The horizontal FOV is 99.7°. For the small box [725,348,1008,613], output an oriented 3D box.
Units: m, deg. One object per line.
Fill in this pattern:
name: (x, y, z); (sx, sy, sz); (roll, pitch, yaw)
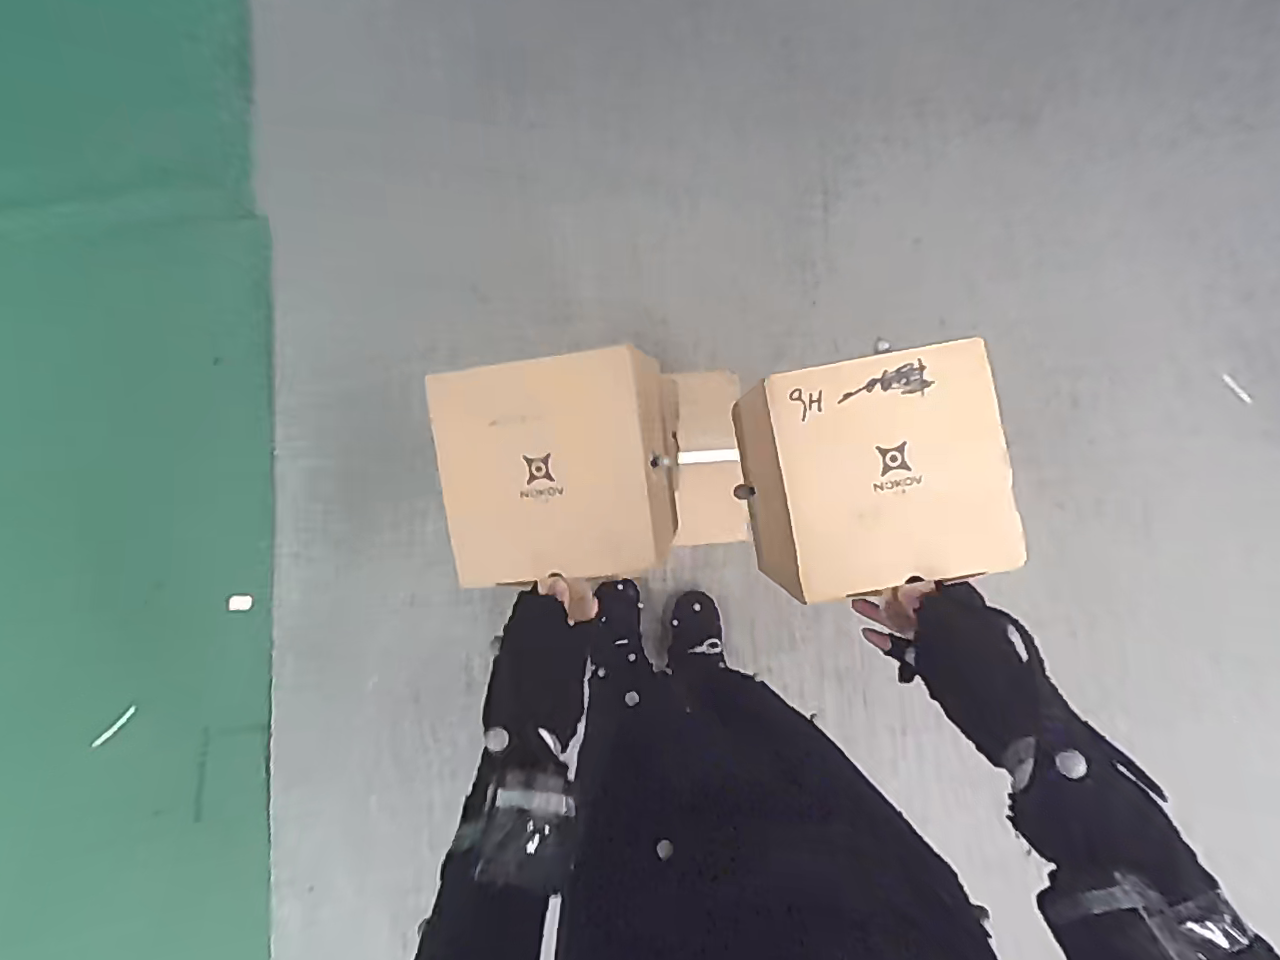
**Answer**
small box: (0.180, -0.001, 0.482); (0.168, 0.176, 0.179); (-12, 91, 1)

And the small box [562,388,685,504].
small box: (-0.027, -0.054, 0.877); (0.179, 0.176, 0.168); (-4, 92, -1)
